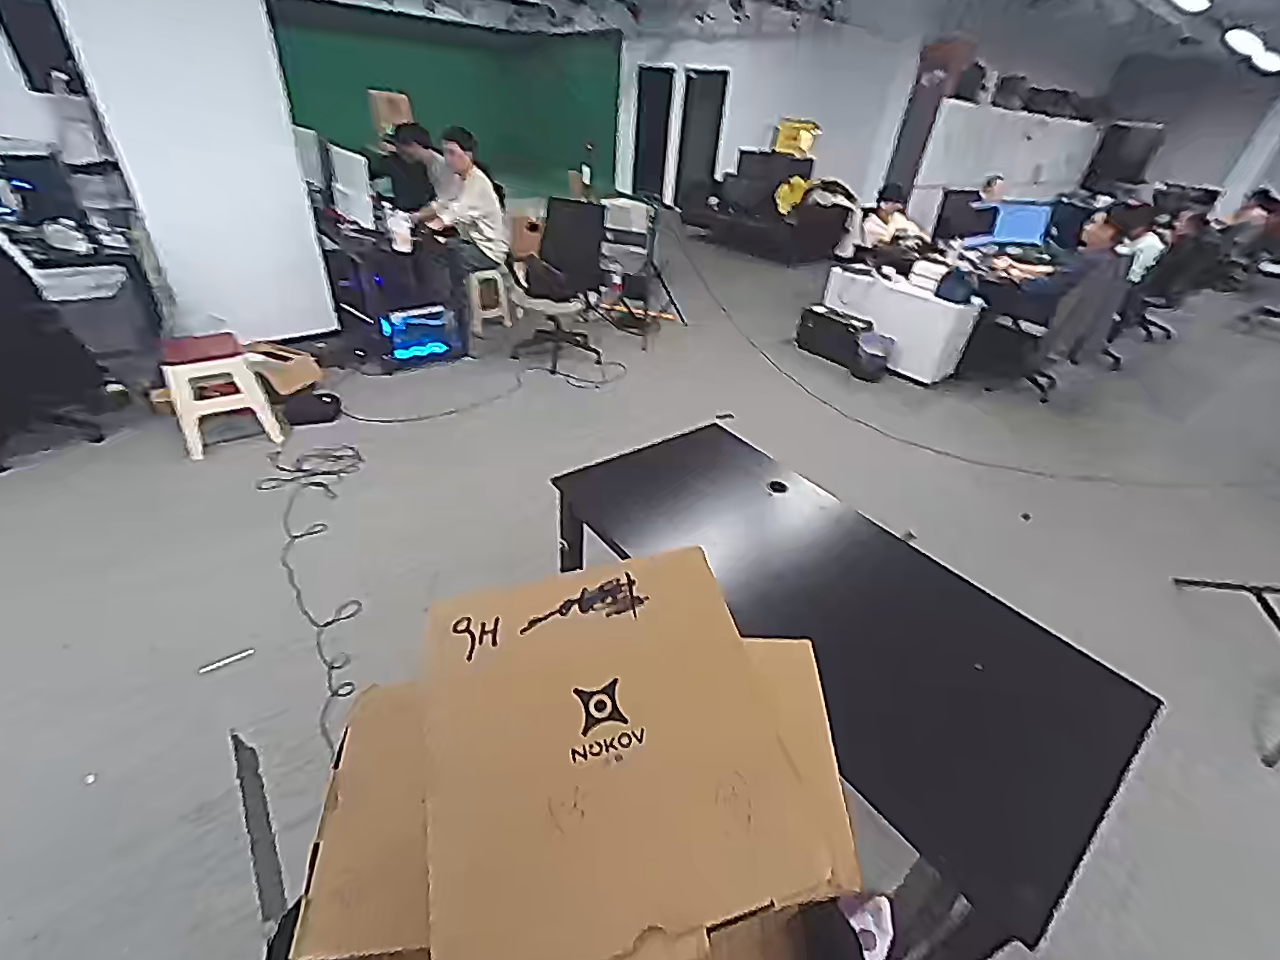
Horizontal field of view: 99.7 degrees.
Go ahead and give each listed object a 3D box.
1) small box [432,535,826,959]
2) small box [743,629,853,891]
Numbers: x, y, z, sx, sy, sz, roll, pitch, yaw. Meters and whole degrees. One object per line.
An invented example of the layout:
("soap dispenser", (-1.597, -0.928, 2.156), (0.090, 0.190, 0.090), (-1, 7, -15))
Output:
("small box", (-0.021, 0.163, 0.329), (0.168, 0.176, 0.179), (-10, 52, -12))
("small box", (0.064, 0.248, 0.478), (0.168, 0.176, 0.179), (3, 48, -1))
